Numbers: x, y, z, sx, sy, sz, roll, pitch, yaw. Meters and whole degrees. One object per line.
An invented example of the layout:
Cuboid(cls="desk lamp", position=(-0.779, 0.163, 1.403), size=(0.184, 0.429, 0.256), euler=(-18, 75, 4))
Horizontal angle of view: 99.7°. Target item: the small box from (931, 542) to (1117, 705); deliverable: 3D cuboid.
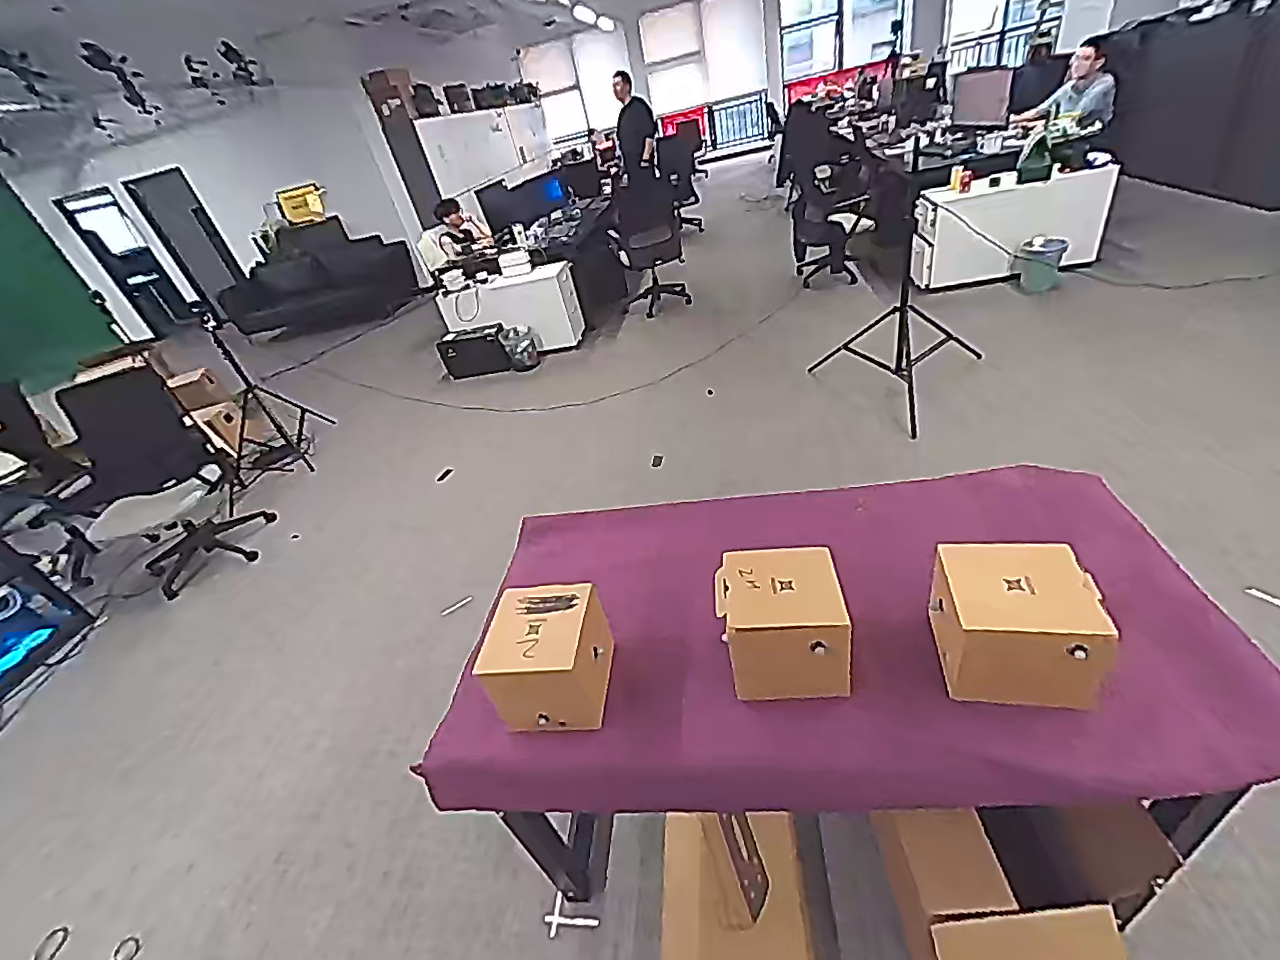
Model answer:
Cuboid(cls="small box", position=(0.540, 0.209, 0.795), size=(0.179, 0.176, 0.168), euler=(-3, 36, 17))

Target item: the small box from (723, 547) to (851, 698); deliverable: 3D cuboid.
Cuboid(cls="small box", position=(0.232, 0.232, 0.874), size=(0.179, 0.176, 0.168), euler=(-7, 33, 11))
